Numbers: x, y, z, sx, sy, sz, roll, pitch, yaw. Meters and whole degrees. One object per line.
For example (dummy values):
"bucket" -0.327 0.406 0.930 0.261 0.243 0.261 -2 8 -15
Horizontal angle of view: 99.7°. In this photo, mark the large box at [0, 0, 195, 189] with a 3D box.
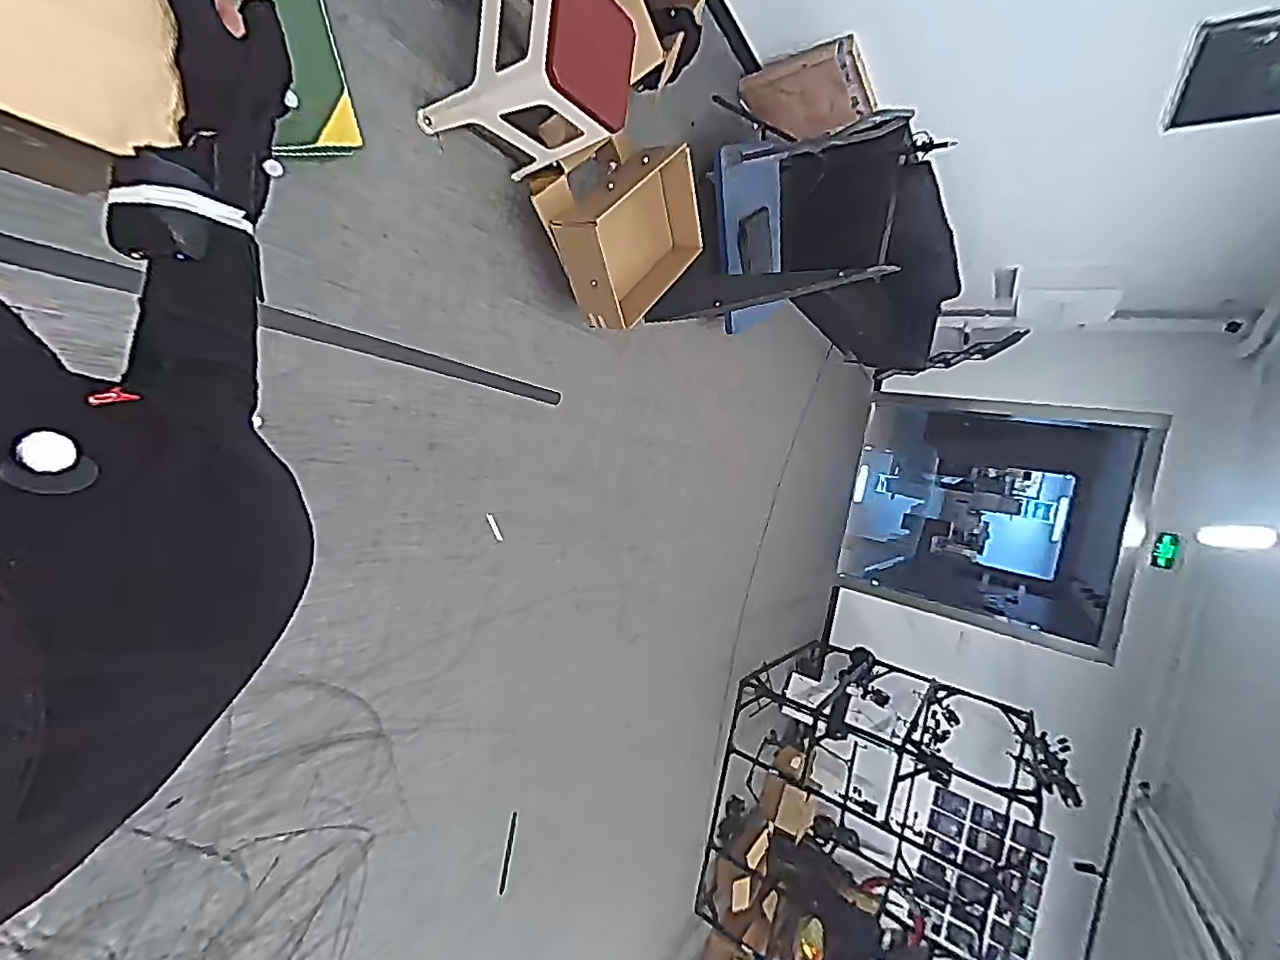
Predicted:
"large box" -0.558 -0.423 0.316 0.408 0.320 0.320 3 102 -56
